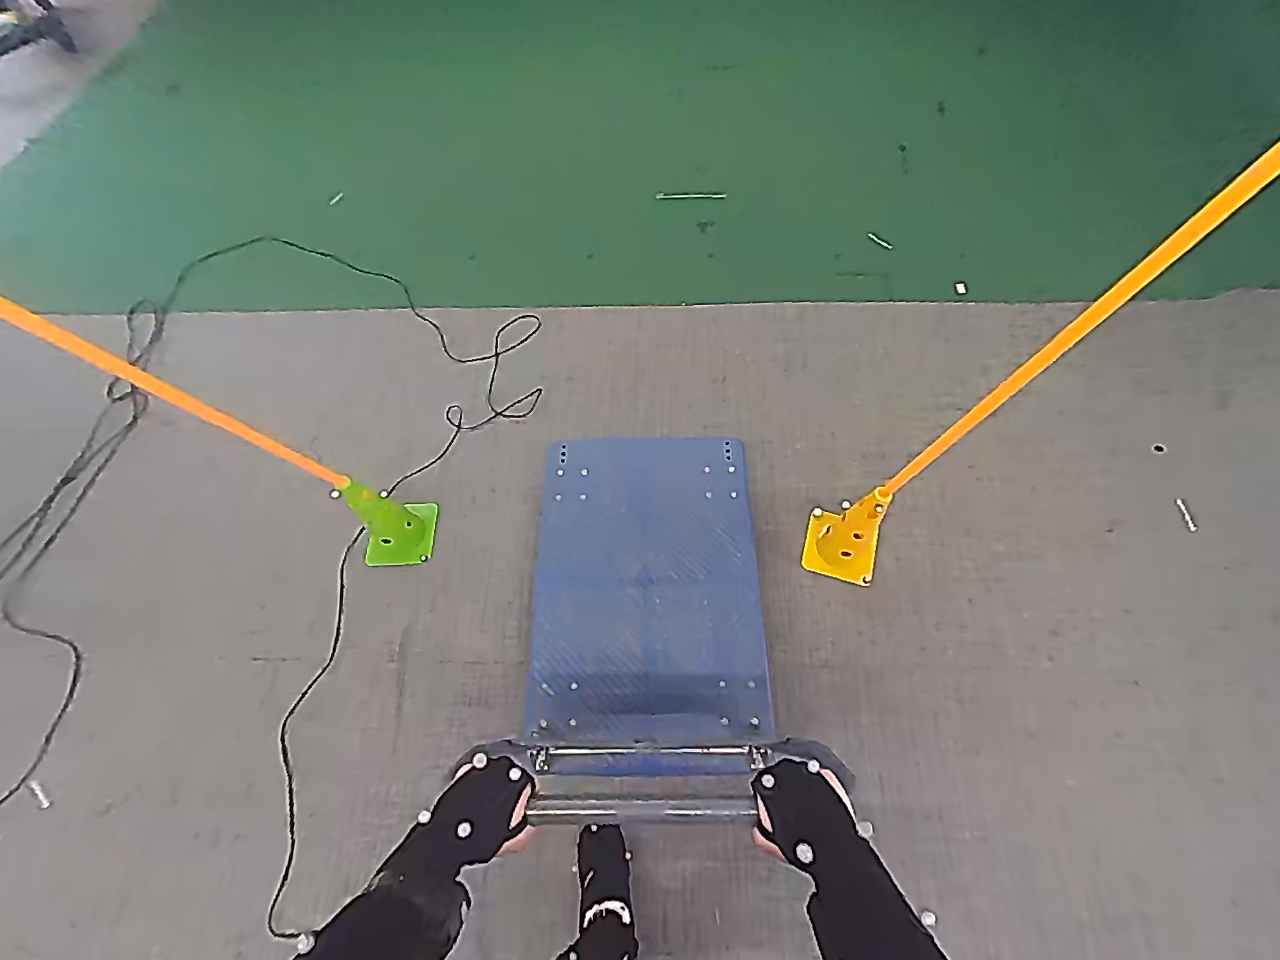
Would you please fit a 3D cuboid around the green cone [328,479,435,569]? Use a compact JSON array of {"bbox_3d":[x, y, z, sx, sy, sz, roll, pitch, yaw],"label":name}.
[{"bbox_3d":[-0.750,0.093,1.519,0.202,0.368,0.200,-4,62,2],"label":"green cone"}]
